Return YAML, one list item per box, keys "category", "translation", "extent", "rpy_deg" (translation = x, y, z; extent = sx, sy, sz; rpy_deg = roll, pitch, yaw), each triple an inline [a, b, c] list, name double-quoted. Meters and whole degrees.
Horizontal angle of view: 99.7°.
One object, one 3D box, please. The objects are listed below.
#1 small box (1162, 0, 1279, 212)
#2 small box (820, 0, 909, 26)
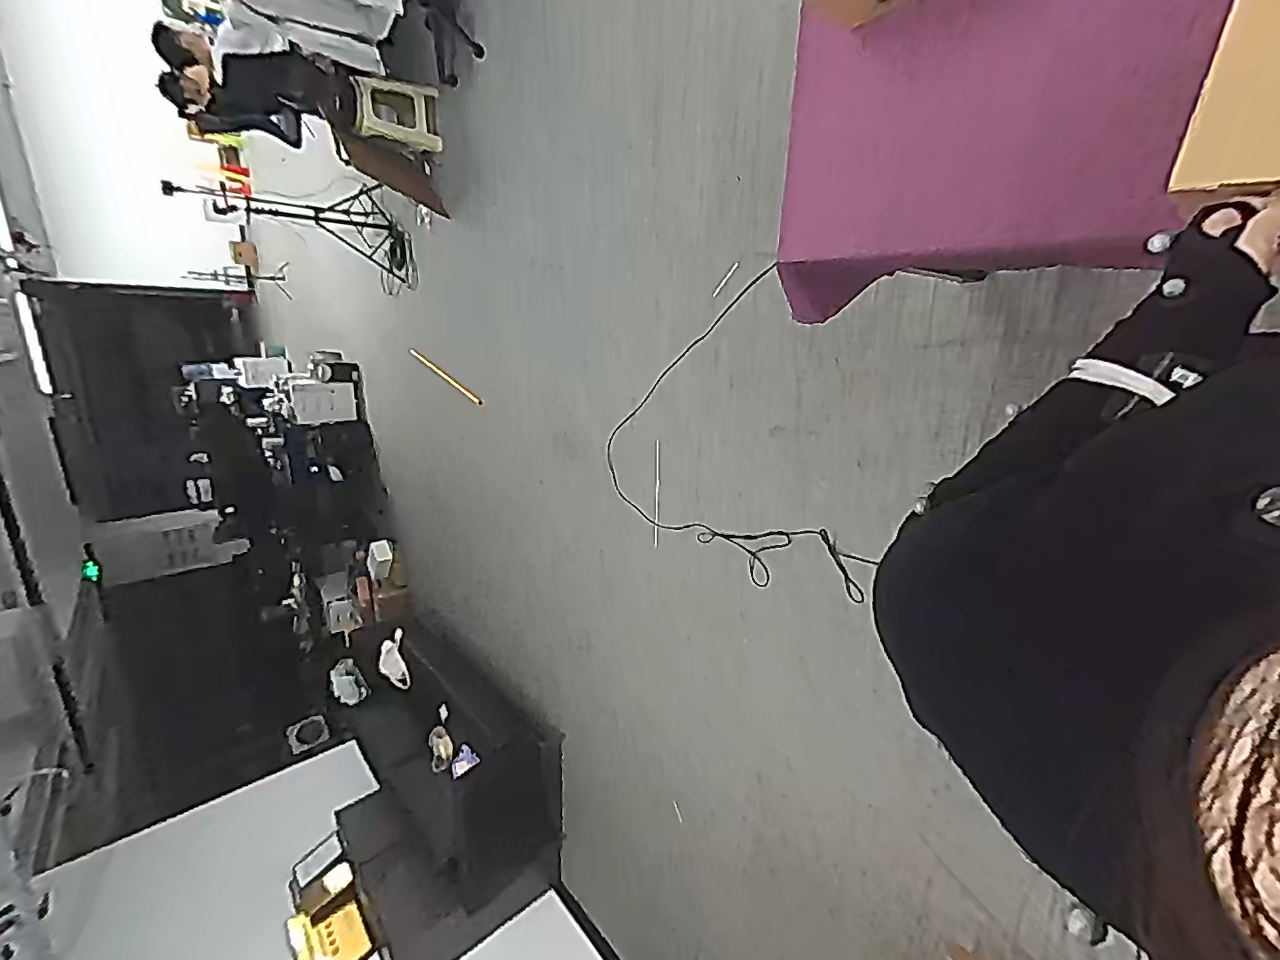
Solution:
- category: "small box"
  translation: [0.550, -0.309, 0.412]
  extent: [0.168, 0.176, 0.179]
  rpy_deg: [25, 118, 44]
- category: "small box"
  translation: [0.281, -0.692, 0.632]
  extent: [0.168, 0.176, 0.179]
  rpy_deg: [12, 109, 48]
